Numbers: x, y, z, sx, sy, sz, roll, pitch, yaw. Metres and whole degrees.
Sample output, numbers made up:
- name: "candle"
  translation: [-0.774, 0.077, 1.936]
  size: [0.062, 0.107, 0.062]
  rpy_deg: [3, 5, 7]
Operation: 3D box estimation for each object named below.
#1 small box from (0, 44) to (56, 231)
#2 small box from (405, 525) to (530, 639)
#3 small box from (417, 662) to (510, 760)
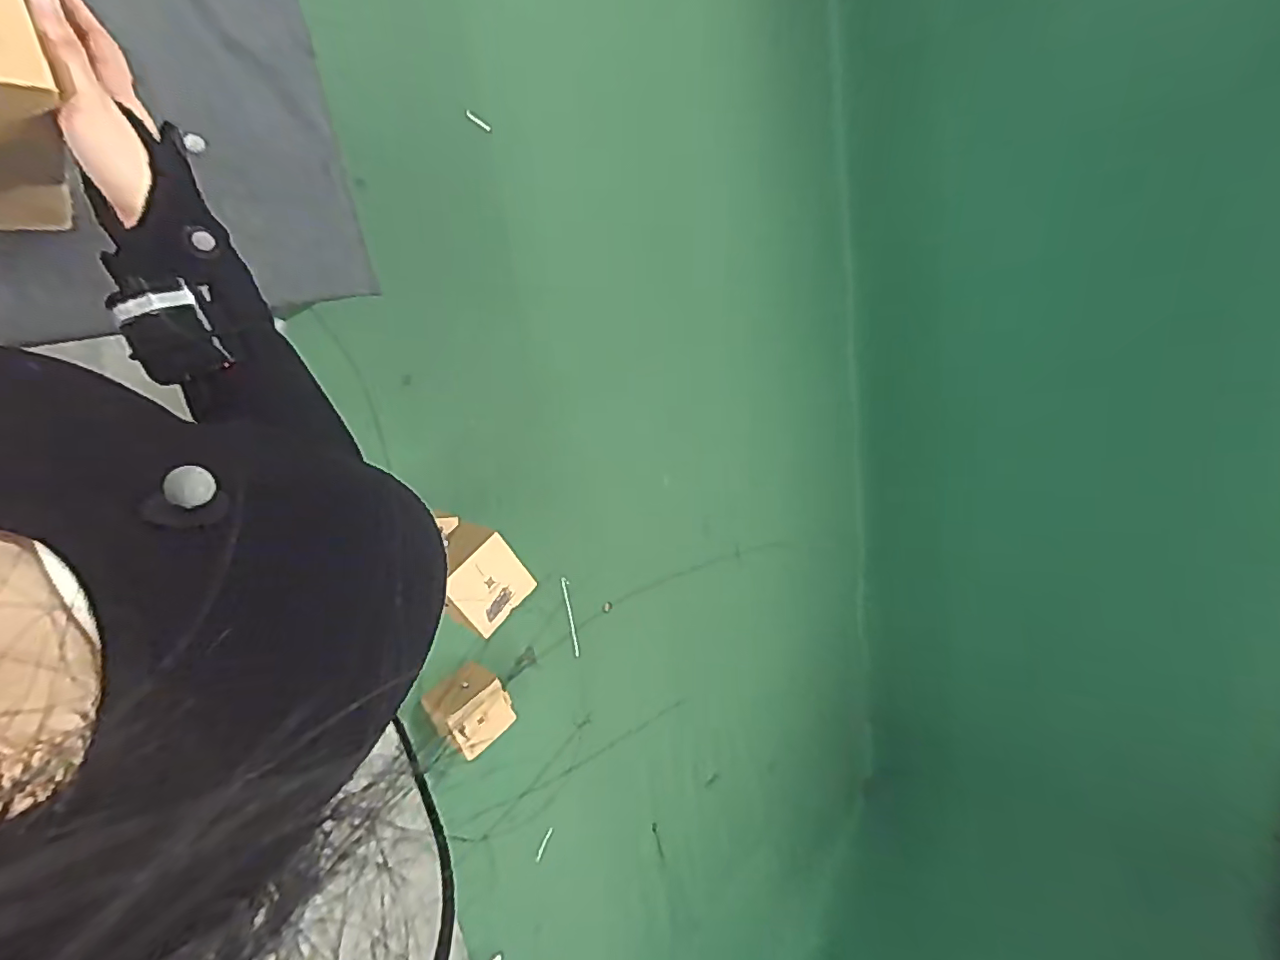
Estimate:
- name: "small box"
  translation: [-0.573, -0.292, 0.393]
  size: [0.168, 0.176, 0.179]
  rpy_deg: [-23, 109, -43]
- name: "small box"
  translation: [-0.388, 0.221, 1.220]
  size: [0.168, 0.176, 0.179]
  rpy_deg: [-47, 125, -30]
- name: "small box"
  translation: [-0.524, 0.674, 1.603]
  size: [0.179, 0.176, 0.168]
  rpy_deg: [-35, 119, -39]
